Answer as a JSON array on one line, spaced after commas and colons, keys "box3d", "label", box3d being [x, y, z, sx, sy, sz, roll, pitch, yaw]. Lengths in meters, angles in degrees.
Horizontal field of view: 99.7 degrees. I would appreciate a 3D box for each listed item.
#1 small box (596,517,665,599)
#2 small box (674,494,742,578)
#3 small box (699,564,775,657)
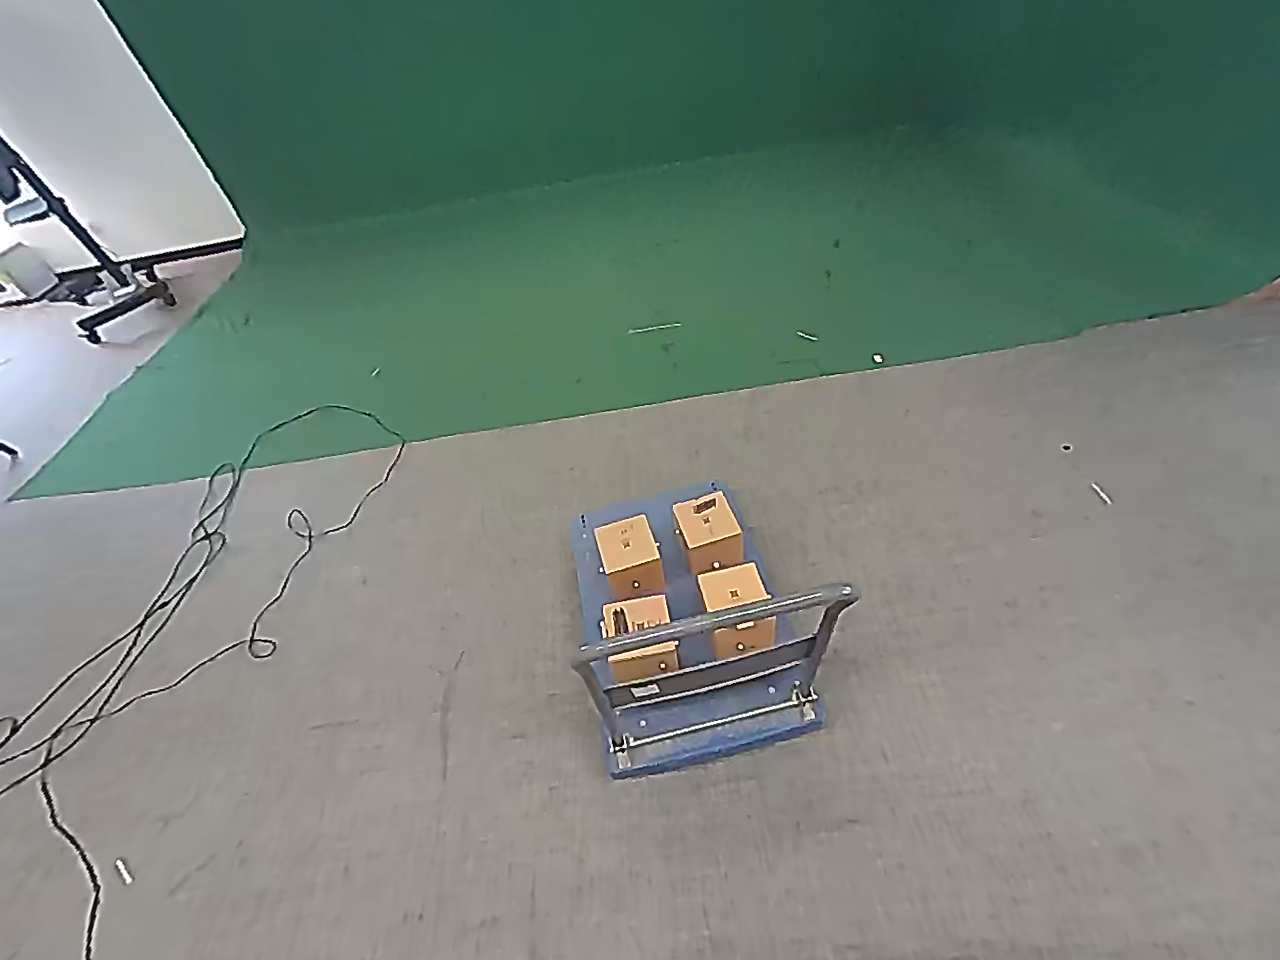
[{"box3d": [-0.027, 0.249, 1.682, 0.168, 0.176, 0.179, -16, 47, -5], "label": "small box"}, {"box3d": [0.214, 0.177, 1.703, 0.168, 0.176, 0.179, -17, 48, -4], "label": "small box"}, {"box3d": [0.268, 0.369, 1.520, 0.168, 0.176, 0.179, -13, 47, -2], "label": "small box"}]
